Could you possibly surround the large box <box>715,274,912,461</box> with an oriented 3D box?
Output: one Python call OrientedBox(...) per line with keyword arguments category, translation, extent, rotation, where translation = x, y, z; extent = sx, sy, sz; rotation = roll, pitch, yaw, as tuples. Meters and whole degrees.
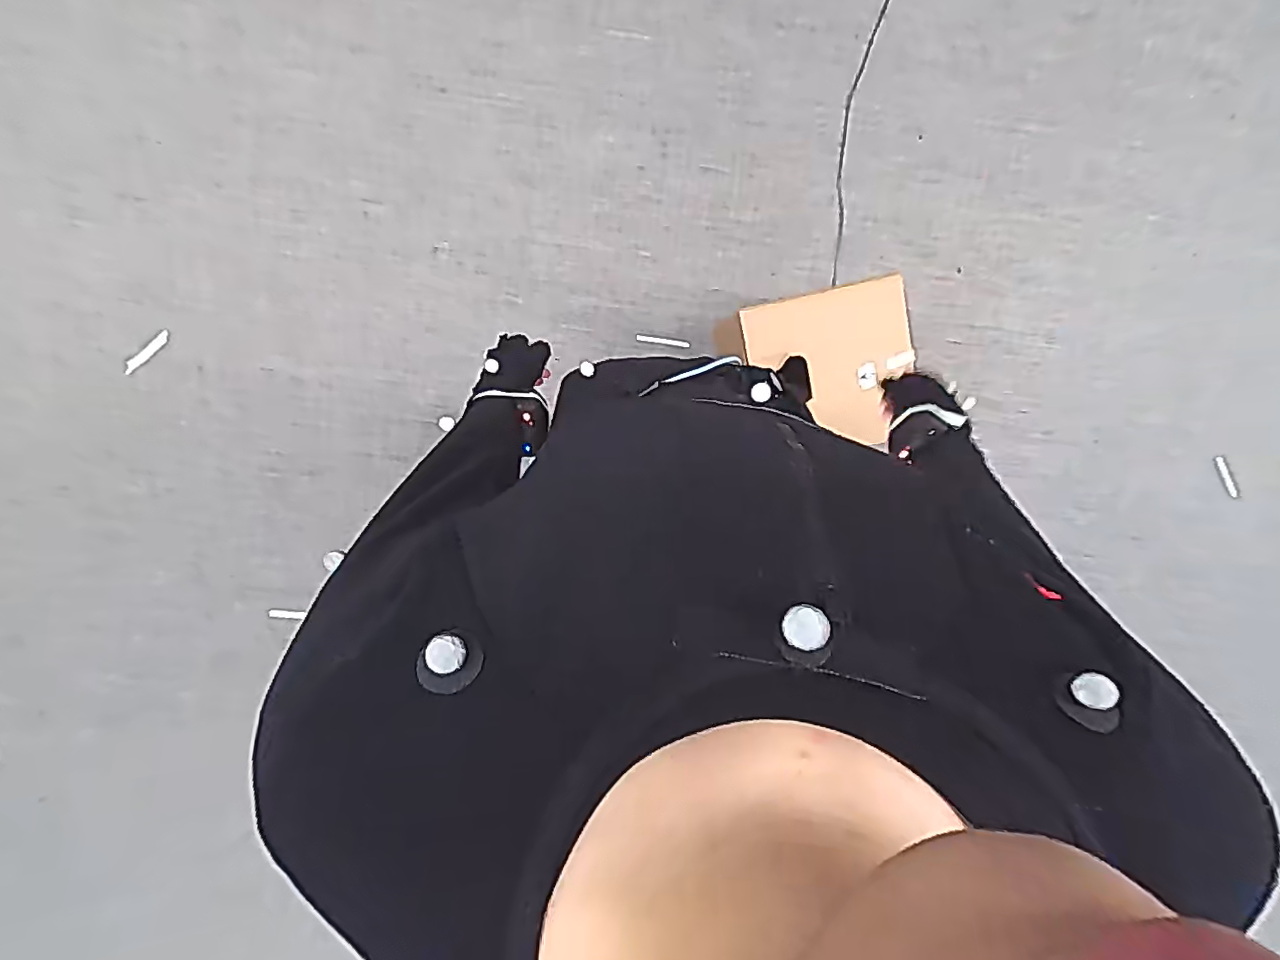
OrientedBox(category="large box", translation=(0.371, -0.249, 1.244), extent=(0.320, 0.408, 0.320), rotation=(-11, 101, 5))
